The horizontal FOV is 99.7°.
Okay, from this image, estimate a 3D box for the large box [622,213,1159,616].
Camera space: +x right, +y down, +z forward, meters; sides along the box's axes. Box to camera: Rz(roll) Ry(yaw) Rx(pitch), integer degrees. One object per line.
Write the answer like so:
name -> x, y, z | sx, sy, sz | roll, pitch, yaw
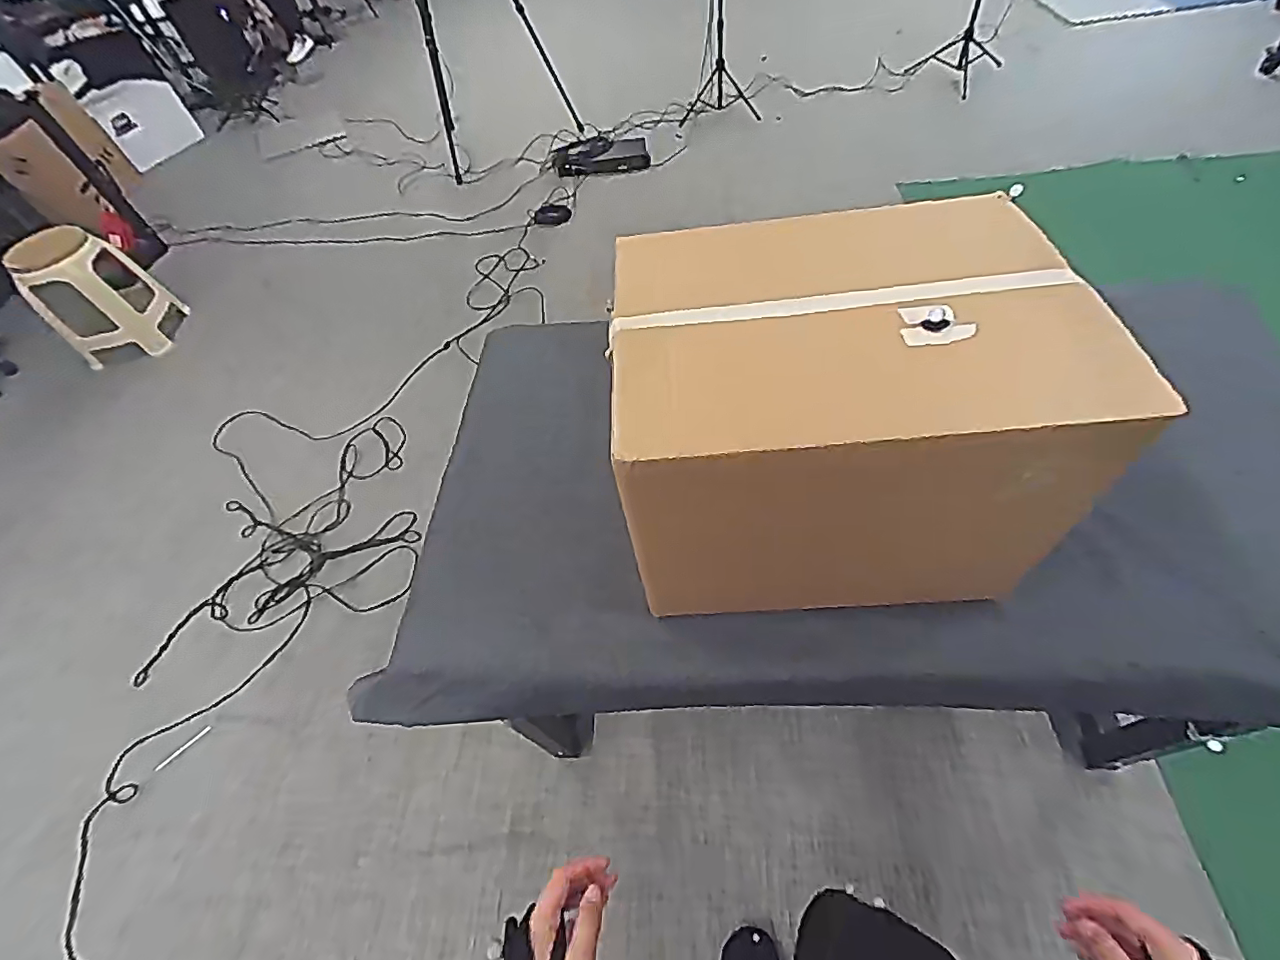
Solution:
large box -> 0.194, -0.059, 0.613 | 0.408, 0.320, 0.320 | -4, 54, 4
